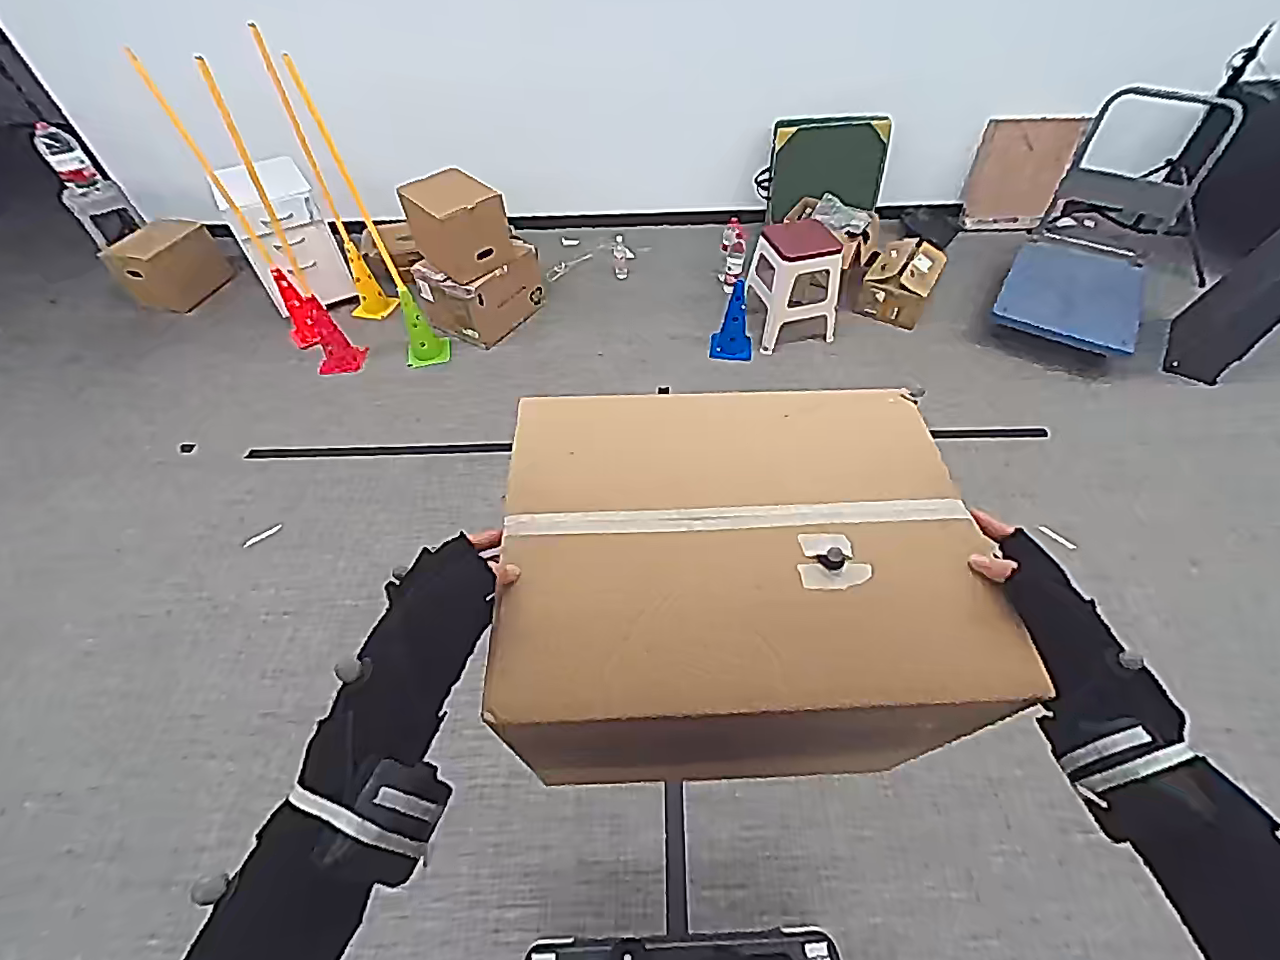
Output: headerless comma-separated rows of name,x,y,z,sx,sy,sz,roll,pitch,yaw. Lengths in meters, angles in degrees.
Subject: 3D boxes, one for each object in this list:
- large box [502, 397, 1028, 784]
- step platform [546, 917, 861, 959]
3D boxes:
large box,0.083,0.130,0.602,0.408,0.320,0.320,-2,54,-3
step platform,0.131,1.107,1.118,0.684,0.204,0.286,-3,51,-1
